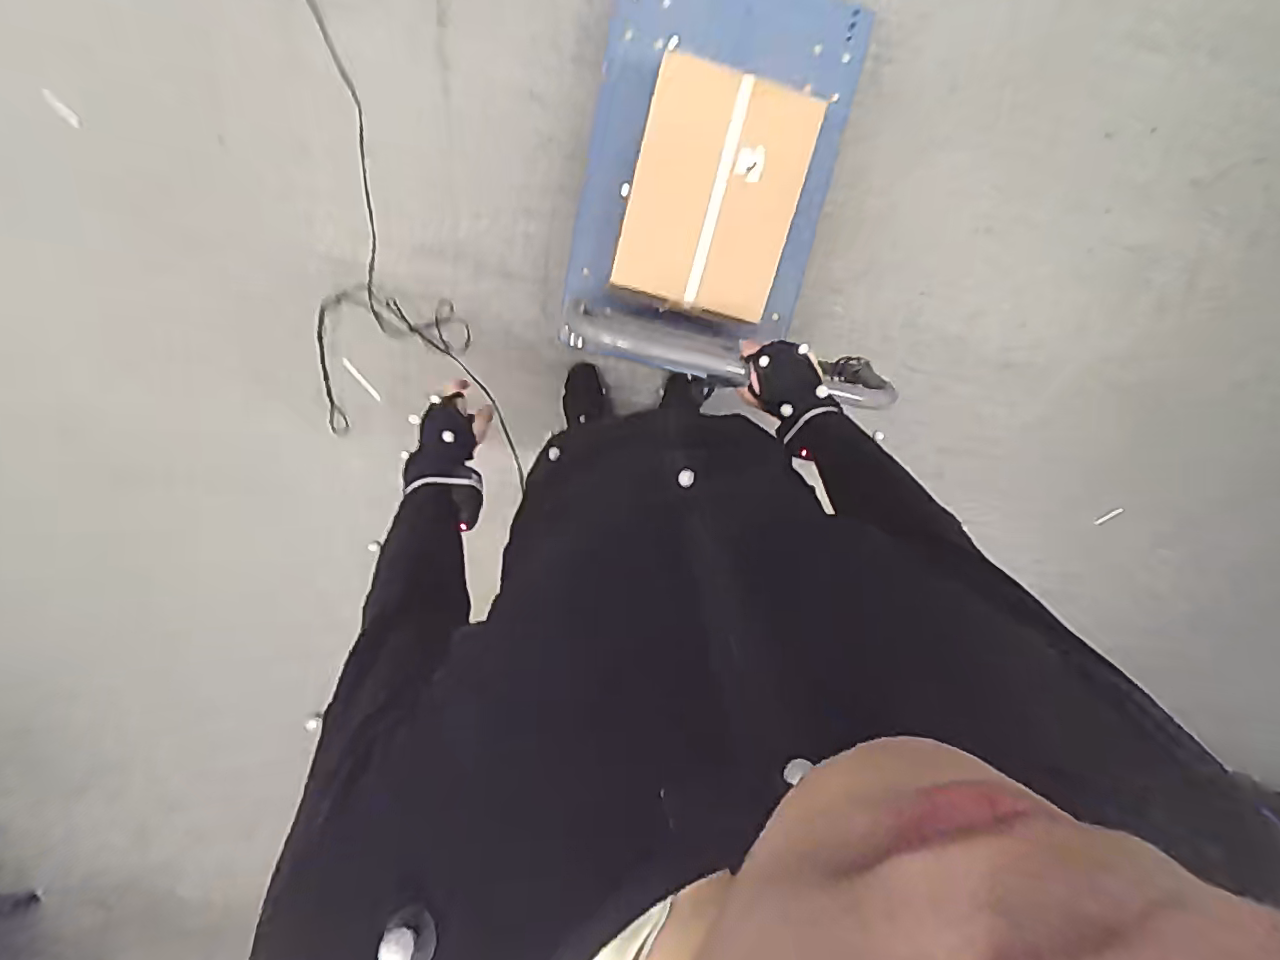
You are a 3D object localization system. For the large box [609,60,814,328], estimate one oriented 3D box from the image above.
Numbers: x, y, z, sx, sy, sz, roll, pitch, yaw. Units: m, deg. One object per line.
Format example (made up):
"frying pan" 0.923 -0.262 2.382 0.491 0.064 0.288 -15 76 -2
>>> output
"large box" 0.121 -0.566 1.169 0.320 0.320 0.408 13 103 -8
